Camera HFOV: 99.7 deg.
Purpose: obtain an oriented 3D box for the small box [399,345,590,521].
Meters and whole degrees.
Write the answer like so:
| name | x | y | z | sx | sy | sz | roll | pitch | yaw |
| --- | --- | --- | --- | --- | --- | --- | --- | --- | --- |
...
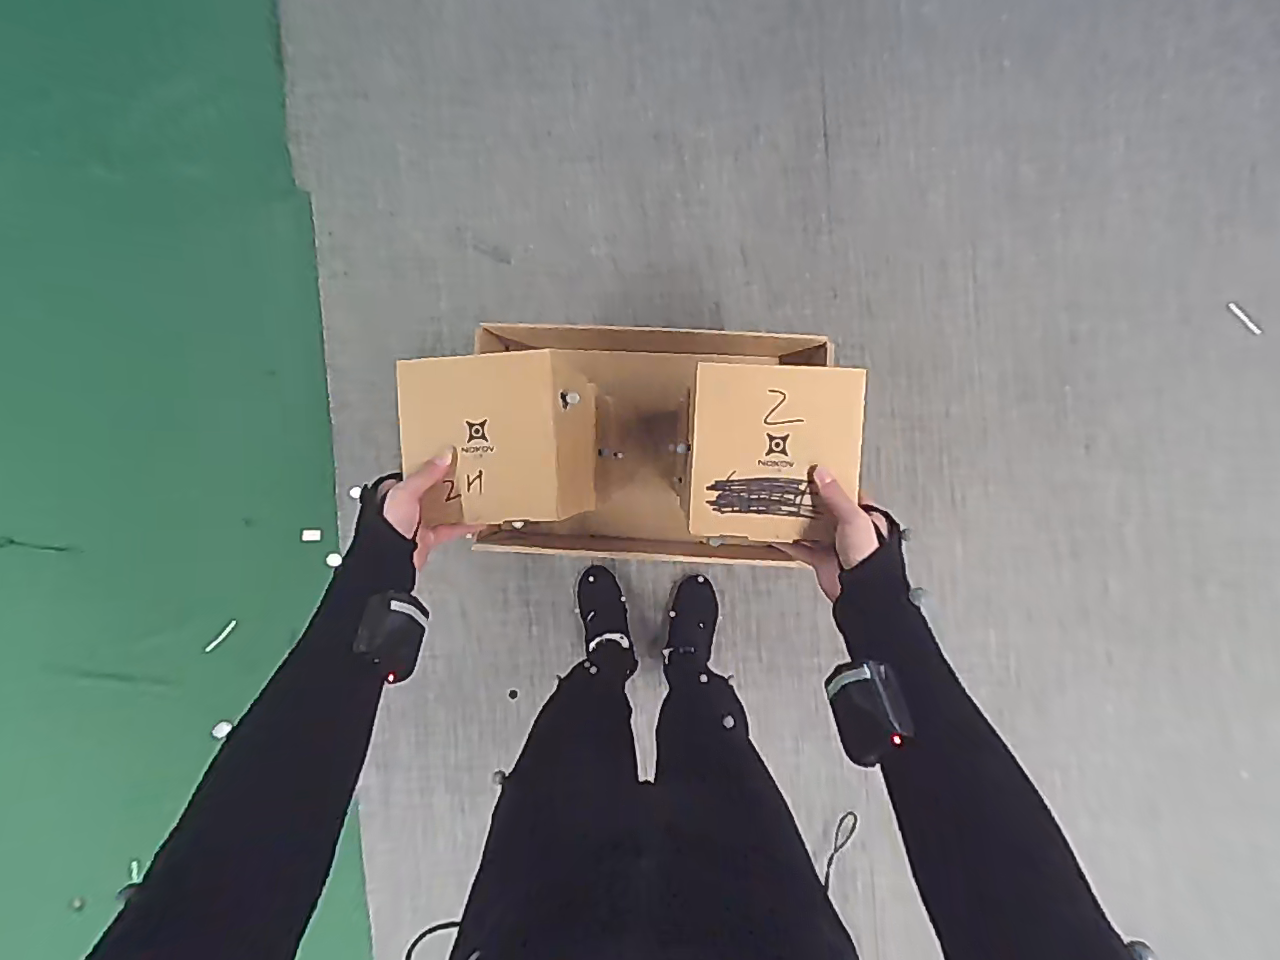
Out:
| name | x | y | z | sx | sy | sz | roll | pitch | yaw |
| --- | --- | --- | --- | --- | --- | --- | --- | --- | --- |
| small box | -0.155 | -0.047 | 0.623 | 0.168 | 0.176 | 0.179 | -2 | 91 | 6 |

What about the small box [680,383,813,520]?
| name | x | y | z | sx | sy | sz | roll | pitch | yaw |
| --- | --- | --- | --- | --- | --- | --- | --- | --- | --- |
| small box | 0.146 | -0.039 | 0.795 | 0.168 | 0.176 | 0.179 | 3 | 90 | 2 |

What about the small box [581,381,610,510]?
| name | x | y | z | sx | sy | sz | roll | pitch | yaw |
| --- | --- | --- | --- | --- | --- | --- | --- | --- | --- |
| small box | -0.136 | -0.047 | 0.812 | 0.168 | 0.176 | 0.179 | 0 | 91 | 3 |
